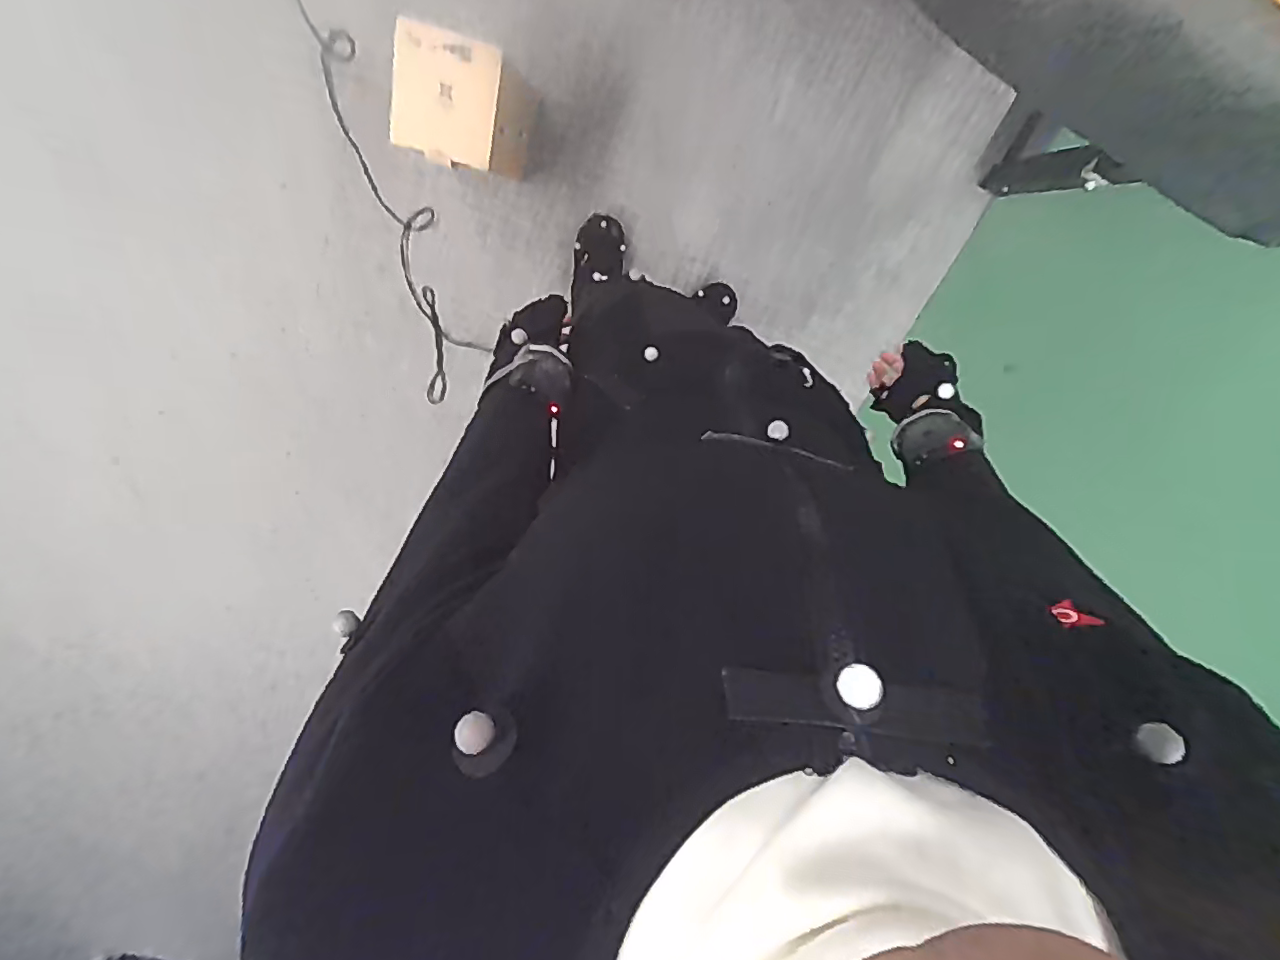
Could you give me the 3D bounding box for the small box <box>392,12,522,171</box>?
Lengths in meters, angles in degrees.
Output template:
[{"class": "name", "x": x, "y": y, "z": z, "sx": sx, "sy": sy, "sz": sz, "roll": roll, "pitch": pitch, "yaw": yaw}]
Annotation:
[{"class": "small box", "x": -0.309, "y": -0.651, "z": 0.933, "sx": 0.168, "sy": 0.176, "sz": 0.179, "roll": 12, "pitch": 114, "yaw": -4}]
